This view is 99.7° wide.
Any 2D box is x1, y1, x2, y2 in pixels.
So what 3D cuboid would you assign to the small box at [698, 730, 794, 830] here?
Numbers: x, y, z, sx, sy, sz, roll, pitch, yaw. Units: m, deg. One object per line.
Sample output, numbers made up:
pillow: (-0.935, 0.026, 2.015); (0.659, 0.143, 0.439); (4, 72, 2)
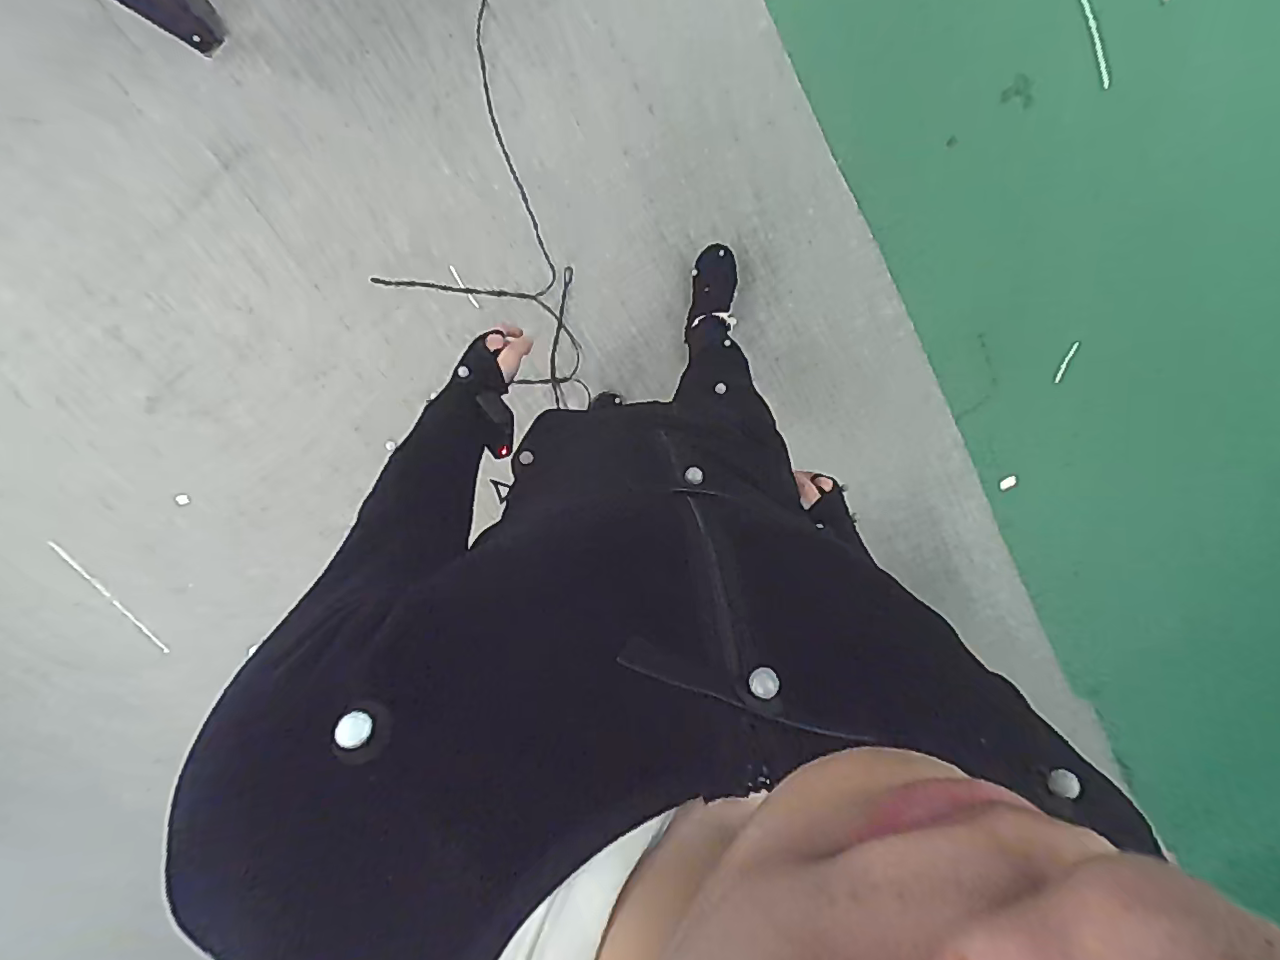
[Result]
small box: (0.253, 0.758, 1.324); (0.168, 0.176, 0.179); (-25, 104, 7)
